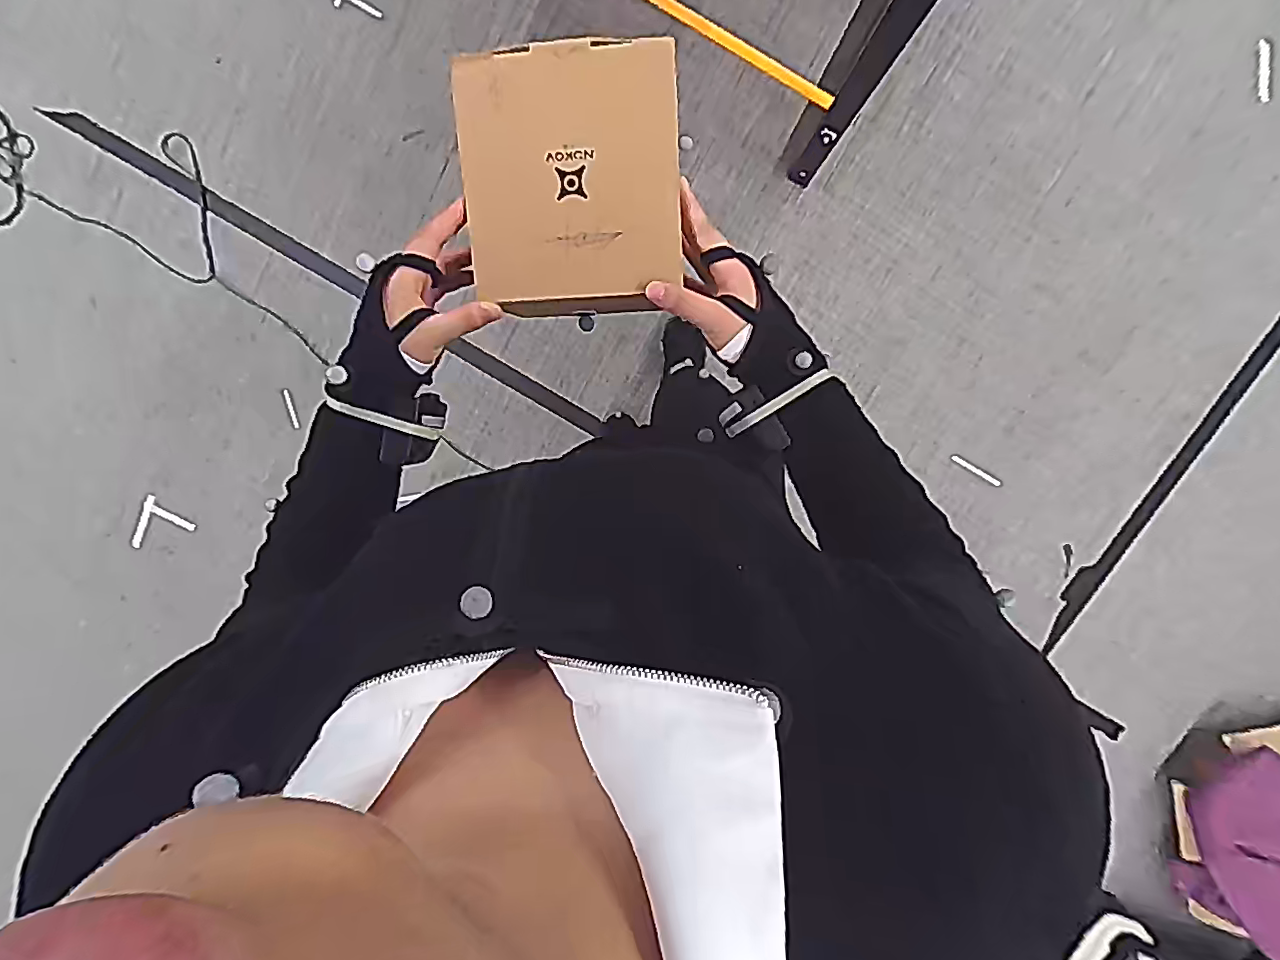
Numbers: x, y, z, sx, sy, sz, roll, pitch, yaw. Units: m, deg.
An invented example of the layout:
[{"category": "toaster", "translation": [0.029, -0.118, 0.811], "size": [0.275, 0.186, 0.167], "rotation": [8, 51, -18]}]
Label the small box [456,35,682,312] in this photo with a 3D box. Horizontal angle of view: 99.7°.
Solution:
[{"category": "small box", "translation": [-0.050, -0.253, 0.489], "size": [0.168, 0.176, 0.179], "rotation": [-2, 103, 2]}]
